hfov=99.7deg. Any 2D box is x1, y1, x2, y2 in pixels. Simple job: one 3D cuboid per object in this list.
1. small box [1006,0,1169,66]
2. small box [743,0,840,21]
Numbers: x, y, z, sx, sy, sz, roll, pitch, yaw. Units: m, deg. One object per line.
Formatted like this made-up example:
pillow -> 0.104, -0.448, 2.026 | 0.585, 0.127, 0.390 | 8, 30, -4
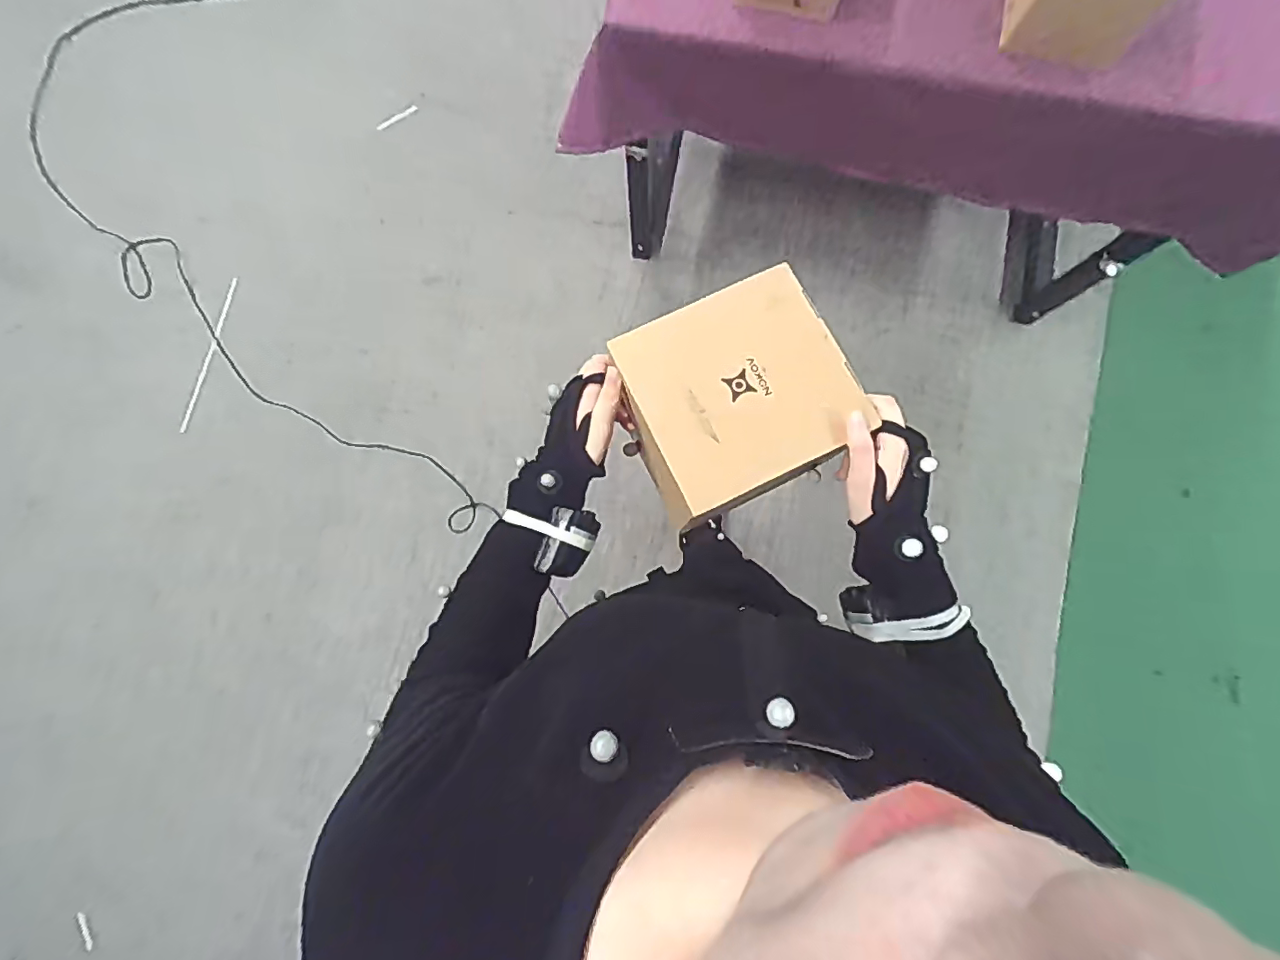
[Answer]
small box -> 0.677, -0.754, 0.789 | 0.179, 0.176, 0.168 | 13, 83, 2
small box -> 0.253, -0.853, 0.810 | 0.168, 0.176, 0.179 | 14, 82, 3
